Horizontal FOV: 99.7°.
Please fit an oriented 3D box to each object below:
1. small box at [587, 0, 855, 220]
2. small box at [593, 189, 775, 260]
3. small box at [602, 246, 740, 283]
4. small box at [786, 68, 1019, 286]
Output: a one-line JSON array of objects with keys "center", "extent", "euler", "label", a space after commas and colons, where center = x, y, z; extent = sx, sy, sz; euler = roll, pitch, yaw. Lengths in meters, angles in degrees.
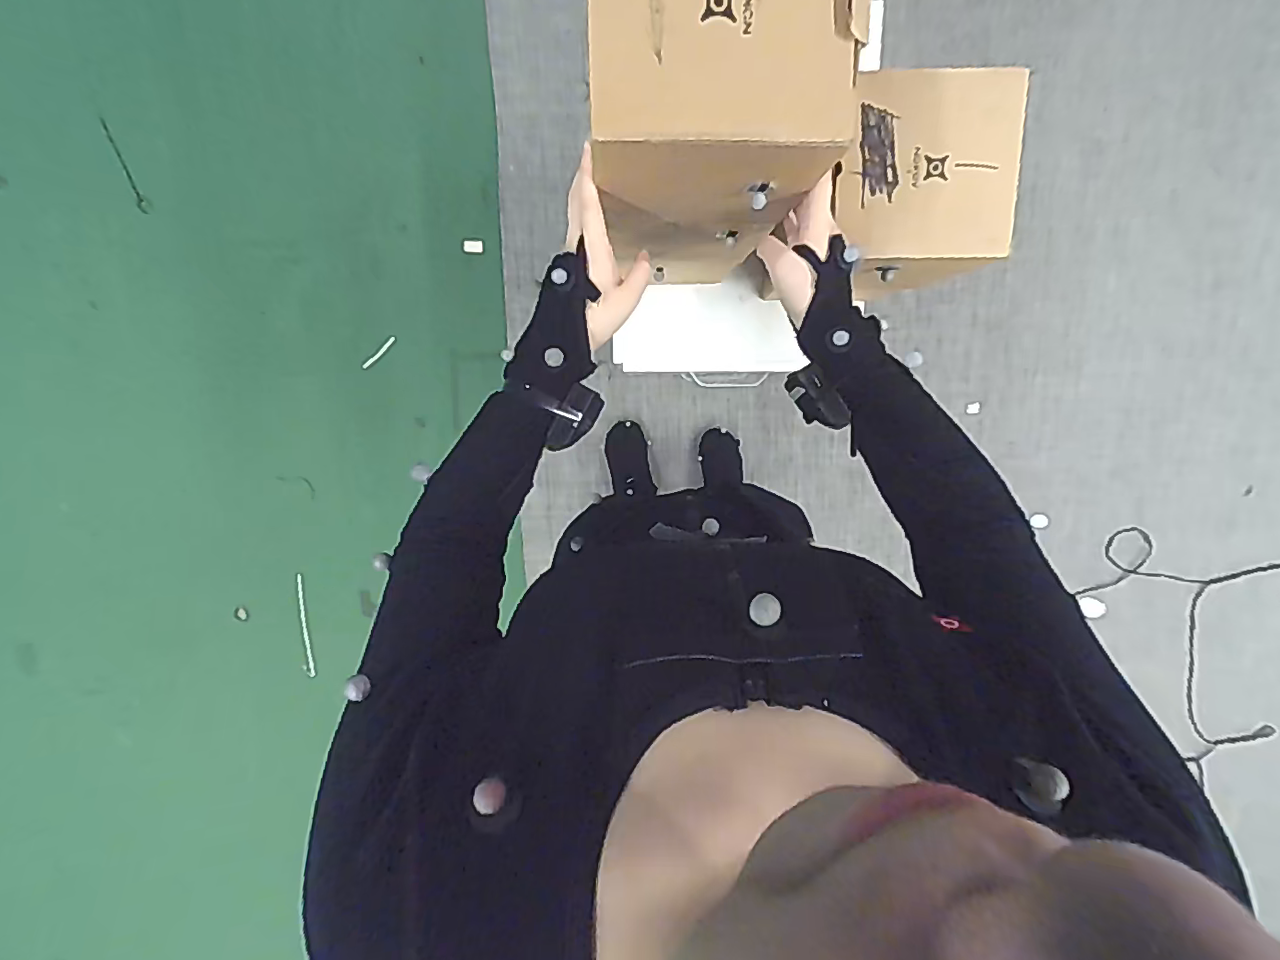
[{"center": [0.049, -0.318, 0.424], "extent": [0.179, 0.176, 0.168], "euler": [-1, 98, -2], "label": "small box"}, {"center": [0.040, -0.344, 0.584], "extent": [0.179, 0.176, 0.168], "euler": [0, 99, -4], "label": "small box"}, {"center": [0.035, -0.373, 0.745], "extent": [0.179, 0.176, 0.168], "euler": [-2, 99, -2], "label": "small box"}, {"center": [0.266, -0.312, 0.592], "extent": [0.179, 0.176, 0.168], "euler": [0, 99, 0], "label": "small box"}]
